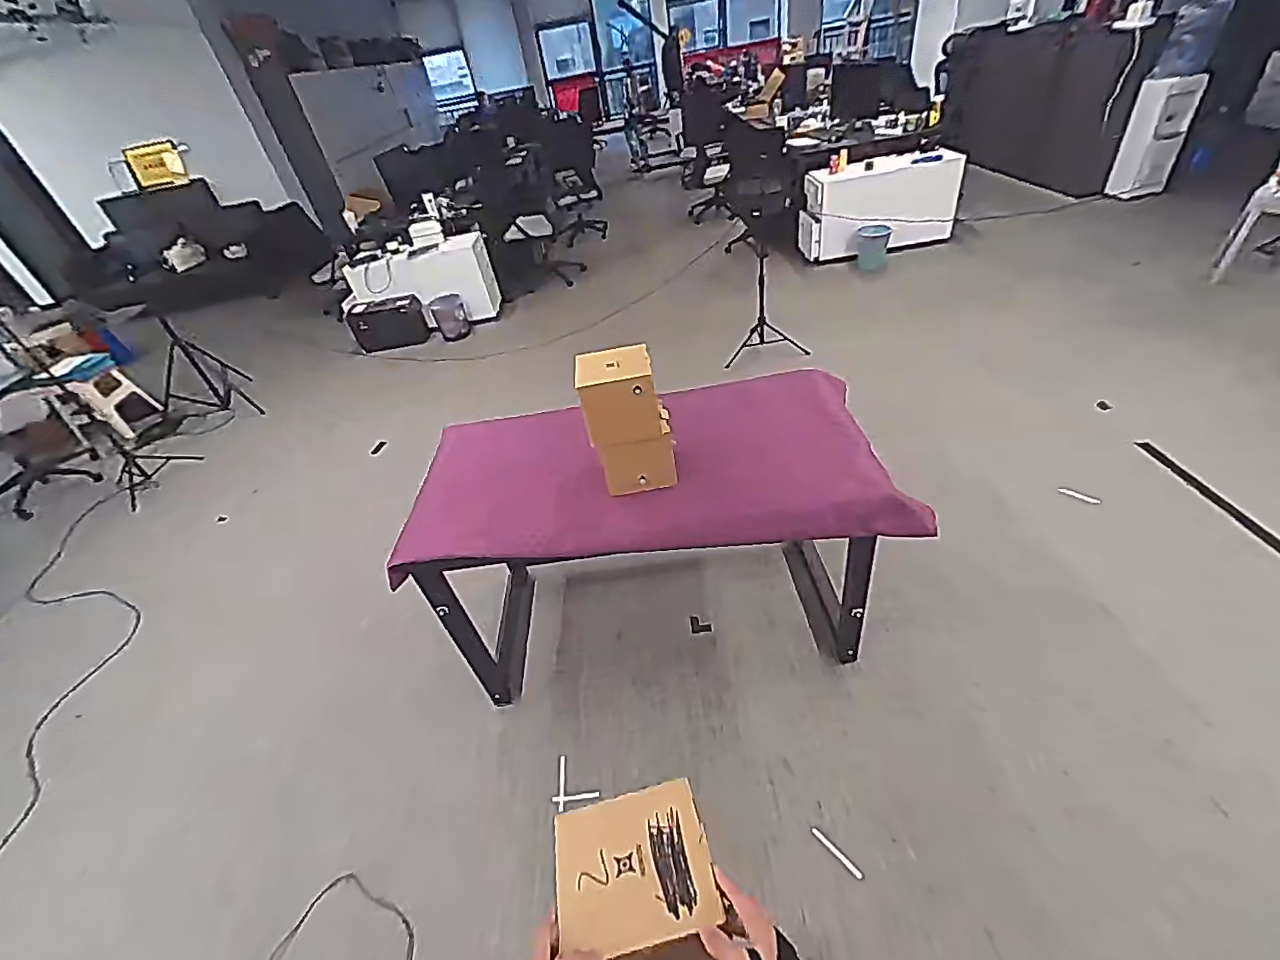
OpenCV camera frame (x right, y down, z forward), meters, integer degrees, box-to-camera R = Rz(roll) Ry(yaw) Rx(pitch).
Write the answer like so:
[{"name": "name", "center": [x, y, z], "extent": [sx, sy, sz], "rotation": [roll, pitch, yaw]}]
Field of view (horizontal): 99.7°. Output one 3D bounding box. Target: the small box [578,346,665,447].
[{"name": "small box", "center": [-0.044, -0.194, 1.283], "extent": [0.179, 0.176, 0.168], "rotation": [-10, 38, 1]}]

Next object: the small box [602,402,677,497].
[{"name": "small box", "center": [-0.001, -0.078, 1.391], "extent": [0.179, 0.176, 0.168], "rotation": [-10, 37, 1]}]
